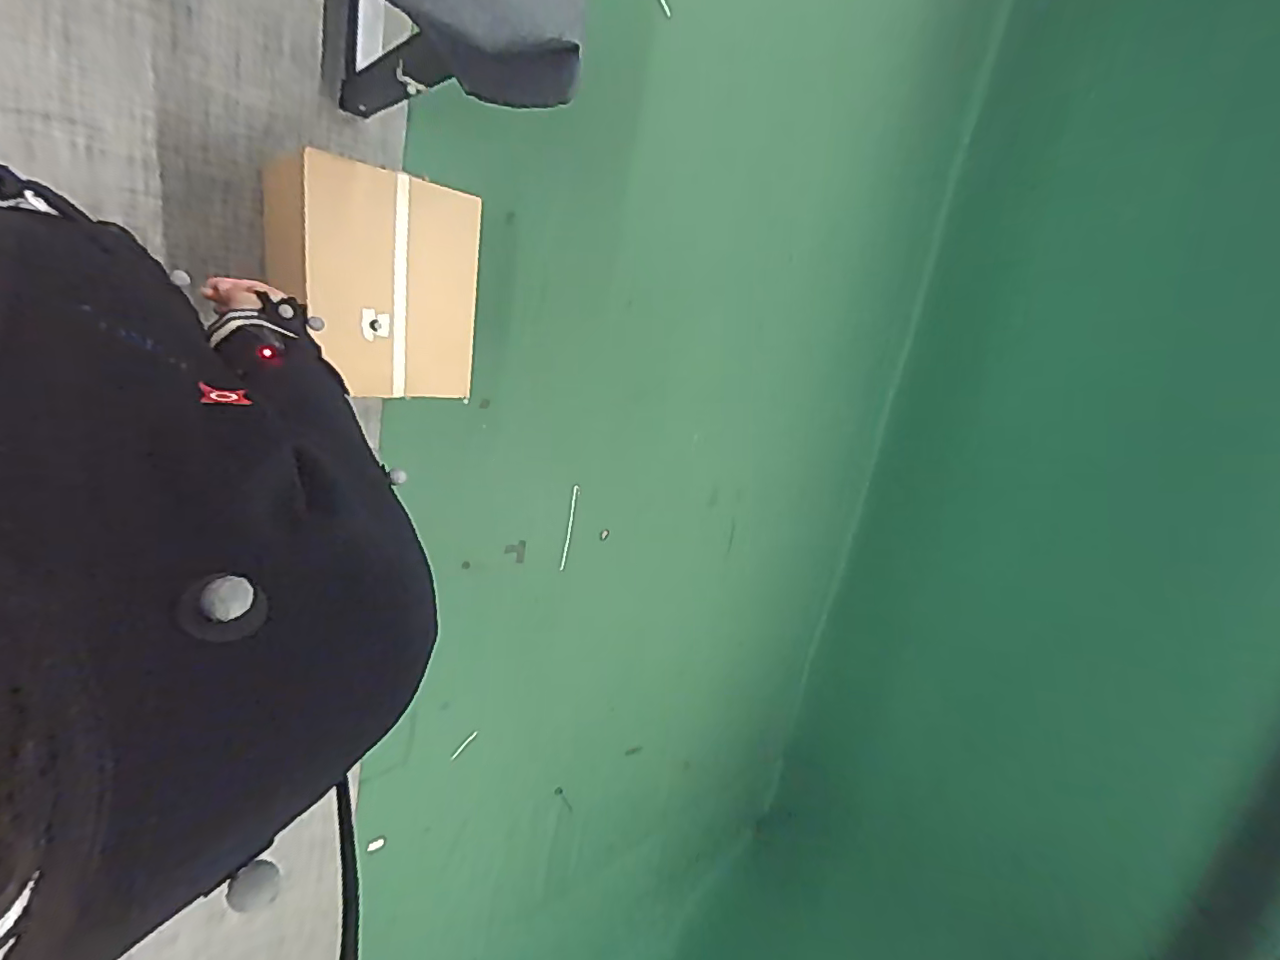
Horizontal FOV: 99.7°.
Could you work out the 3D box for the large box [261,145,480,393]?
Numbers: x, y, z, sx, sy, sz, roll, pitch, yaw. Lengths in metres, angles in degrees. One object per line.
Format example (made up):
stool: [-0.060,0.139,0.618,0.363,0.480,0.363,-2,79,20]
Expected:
large box: [-0.554,-0.408,1.114,0.320,0.320,0.408,-7,113,-44]
